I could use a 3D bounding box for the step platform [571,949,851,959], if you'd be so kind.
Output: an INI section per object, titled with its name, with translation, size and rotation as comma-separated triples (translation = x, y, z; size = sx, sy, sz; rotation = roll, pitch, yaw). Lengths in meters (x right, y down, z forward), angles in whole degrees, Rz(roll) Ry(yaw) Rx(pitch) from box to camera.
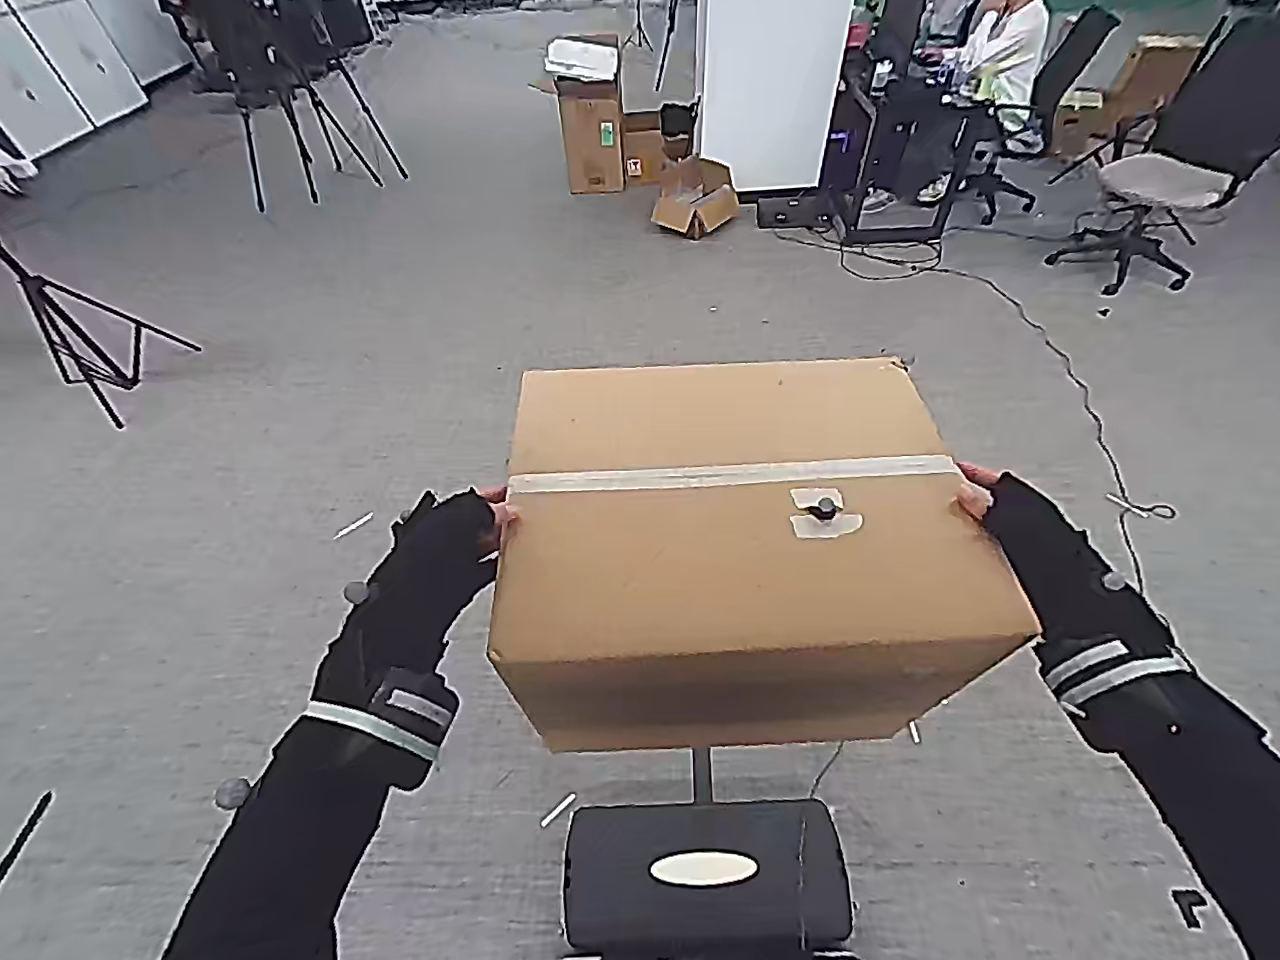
[step platform]
translation = 0.128, 1.144, 1.086
size = 0.684, 0.204, 0.286
rotation = -4, 49, 2

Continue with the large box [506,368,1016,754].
[large box]
translation = 0.085, 0.098, 0.616
size = 0.408, 0.320, 0.320
rotation = -3, 52, -2
